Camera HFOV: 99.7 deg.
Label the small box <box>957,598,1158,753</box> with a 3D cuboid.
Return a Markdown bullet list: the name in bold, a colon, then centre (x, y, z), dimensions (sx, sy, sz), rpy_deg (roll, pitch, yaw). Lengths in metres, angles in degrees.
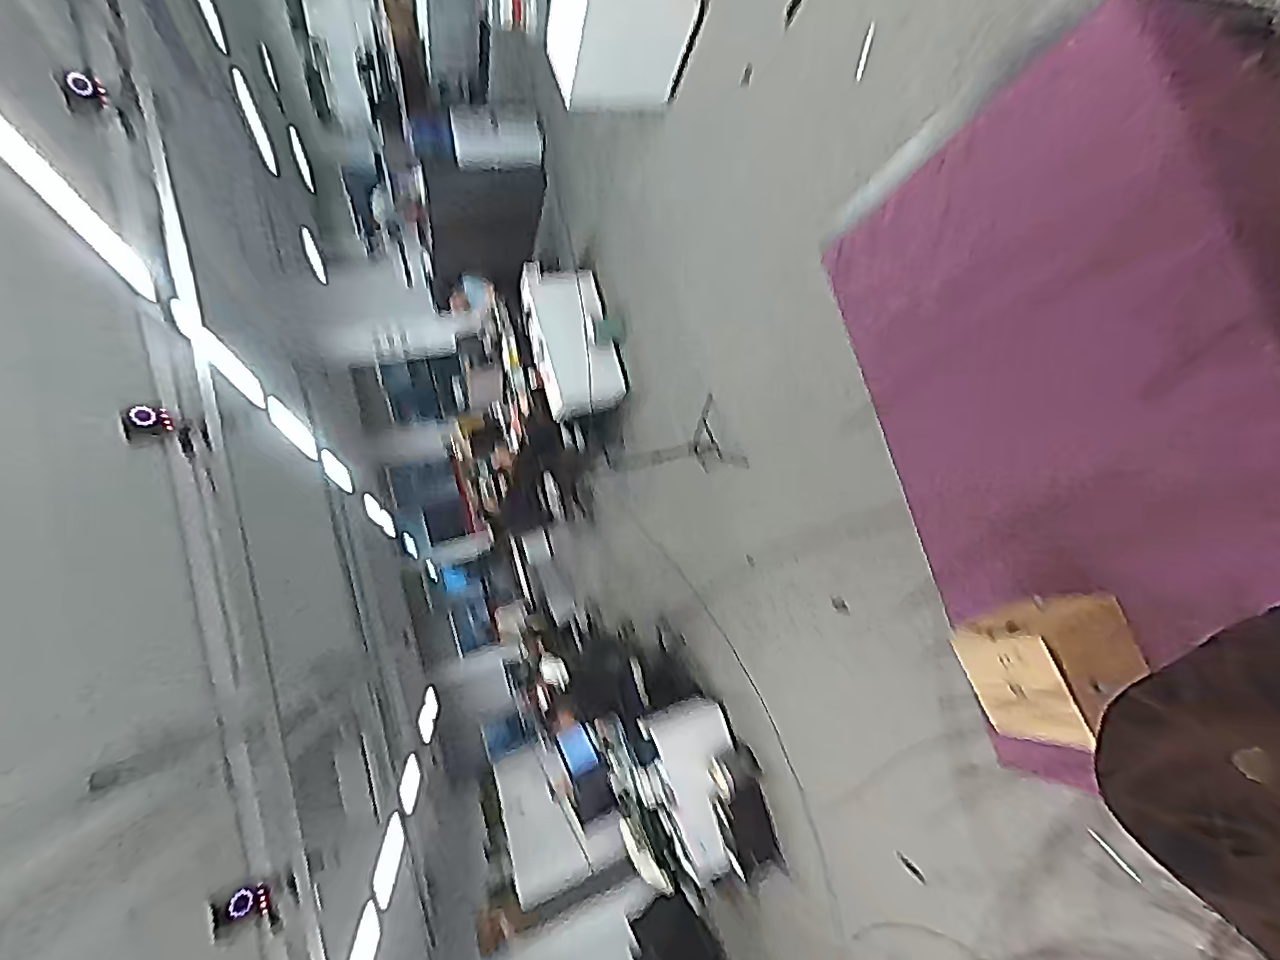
- **small box**: centre (0.667, 0.303, 0.870), dimensions (0.168, 0.176, 0.179), rpy_deg (140, 114, -66)
